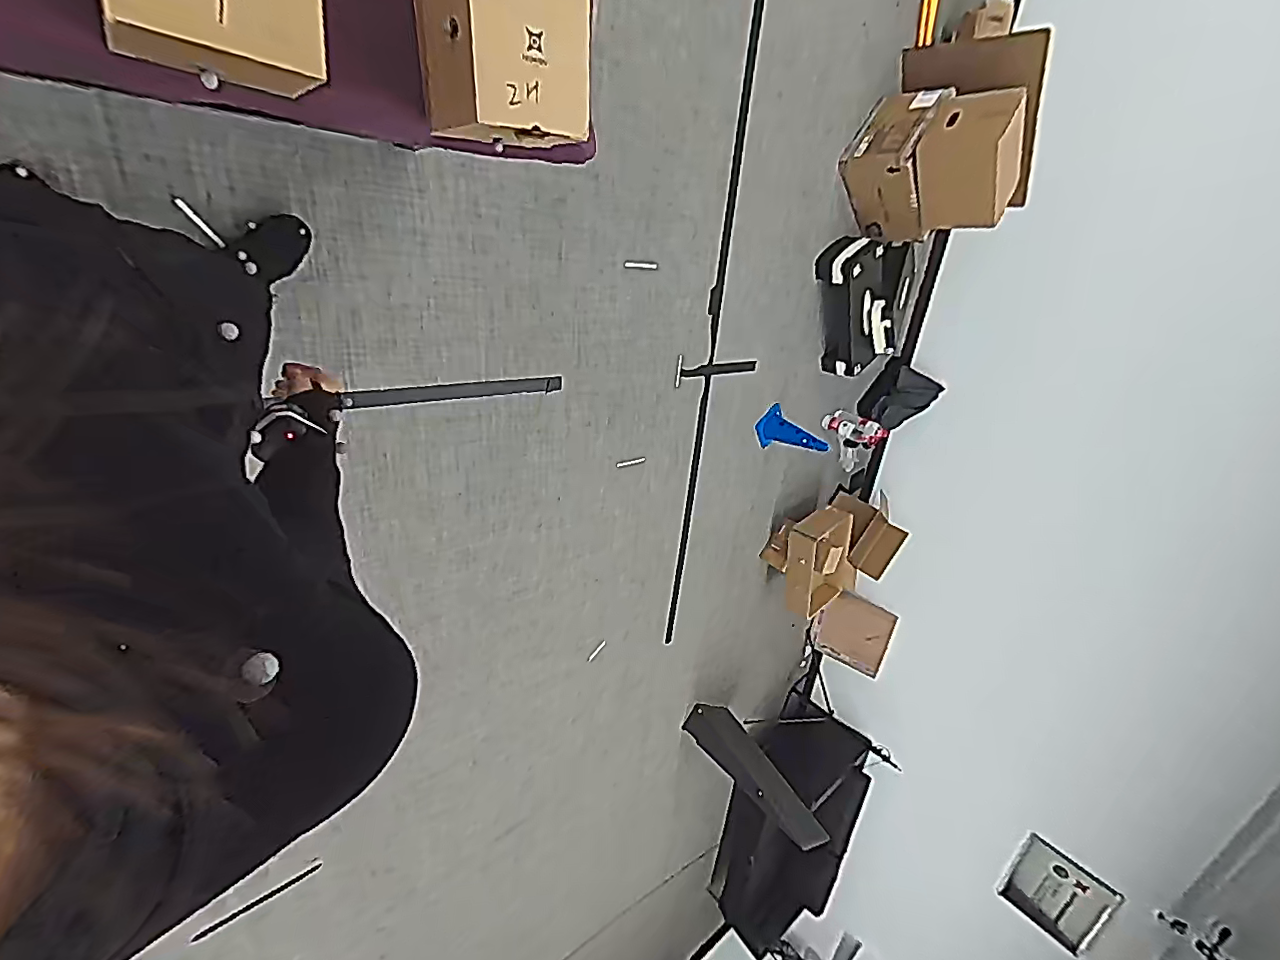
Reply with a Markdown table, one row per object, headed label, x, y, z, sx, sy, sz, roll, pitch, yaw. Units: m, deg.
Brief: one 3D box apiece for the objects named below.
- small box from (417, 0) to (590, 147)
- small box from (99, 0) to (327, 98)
| label | x | y | z | sx | sy | sz | roll | pitch | yaw |
| --- | --- | --- | --- | --- | --- | --- | --- | --- | --- |
| small box | -0.183 | -0.558 | 0.720 | 0.168 | 0.176 | 0.179 | -17 | 123 | -36 |
| small box | -0.422 | -0.502 | 0.525 | 0.168 | 0.176 | 0.179 | -11 | 120 | -39 |
